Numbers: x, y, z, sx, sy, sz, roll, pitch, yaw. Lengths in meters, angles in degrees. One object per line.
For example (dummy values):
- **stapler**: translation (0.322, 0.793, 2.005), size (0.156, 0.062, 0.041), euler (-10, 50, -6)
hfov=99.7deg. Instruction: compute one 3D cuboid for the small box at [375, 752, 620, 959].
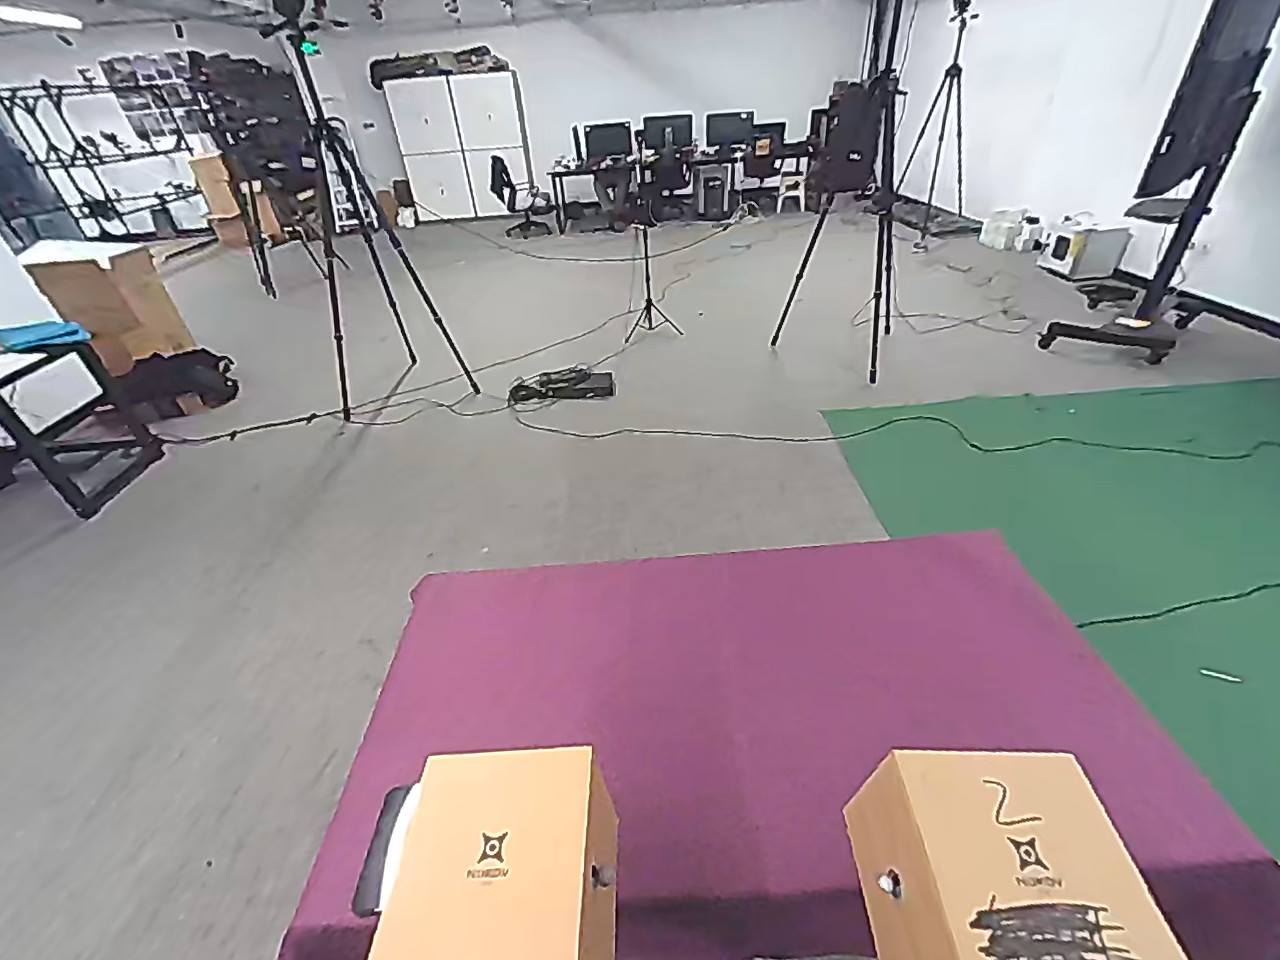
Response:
- **small box**: translation (-0.112, 0.382, 0.505), size (0.168, 0.176, 0.179), euler (-5, 38, 4)
